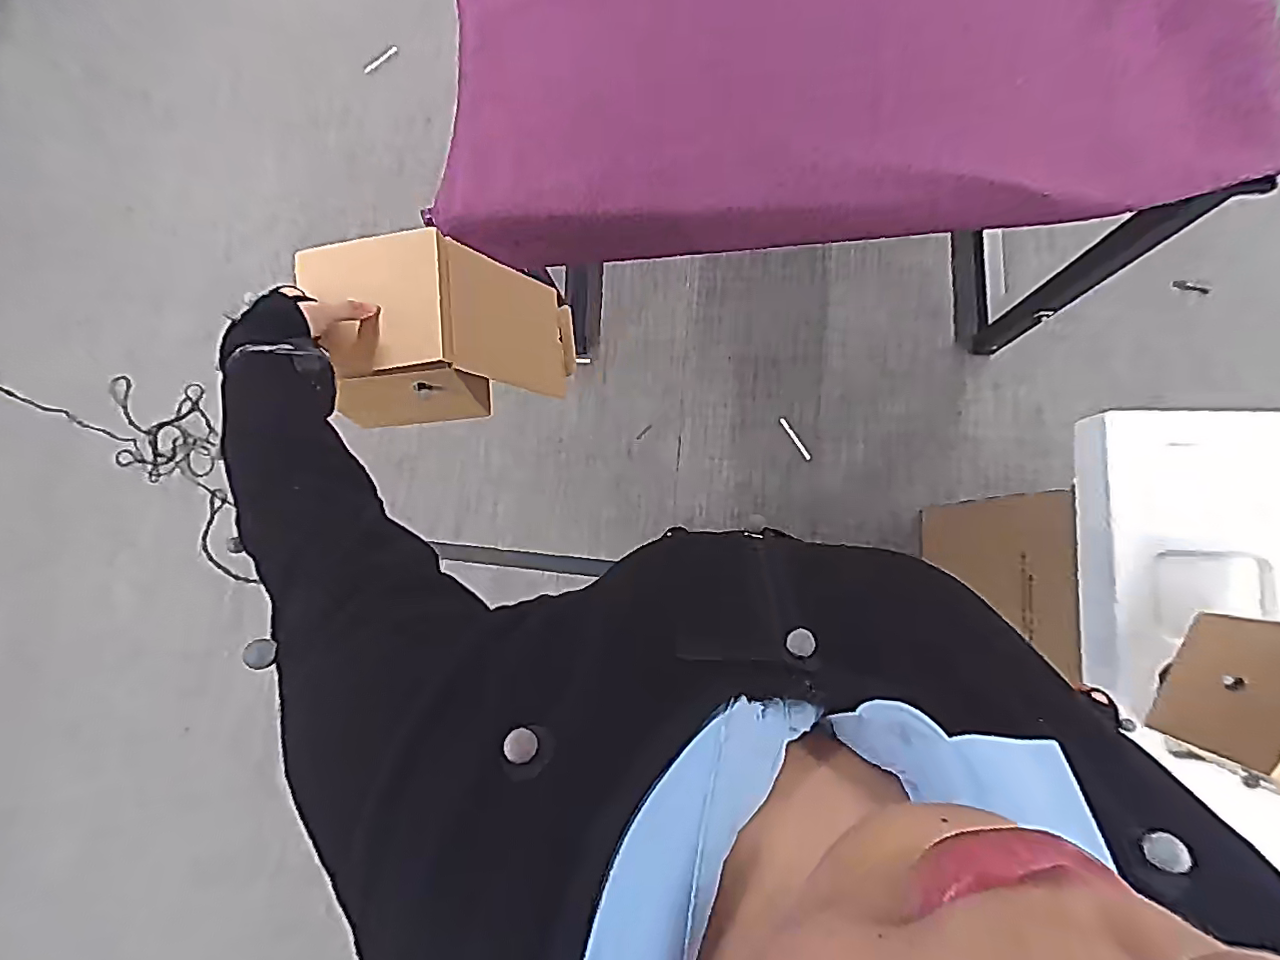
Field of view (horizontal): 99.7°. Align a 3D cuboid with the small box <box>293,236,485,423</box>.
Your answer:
[{"bbox_3d":[-0.301,-0.179,0.684,0.179,0.176,0.168,-6,78,-1],"label":"small box"}]
